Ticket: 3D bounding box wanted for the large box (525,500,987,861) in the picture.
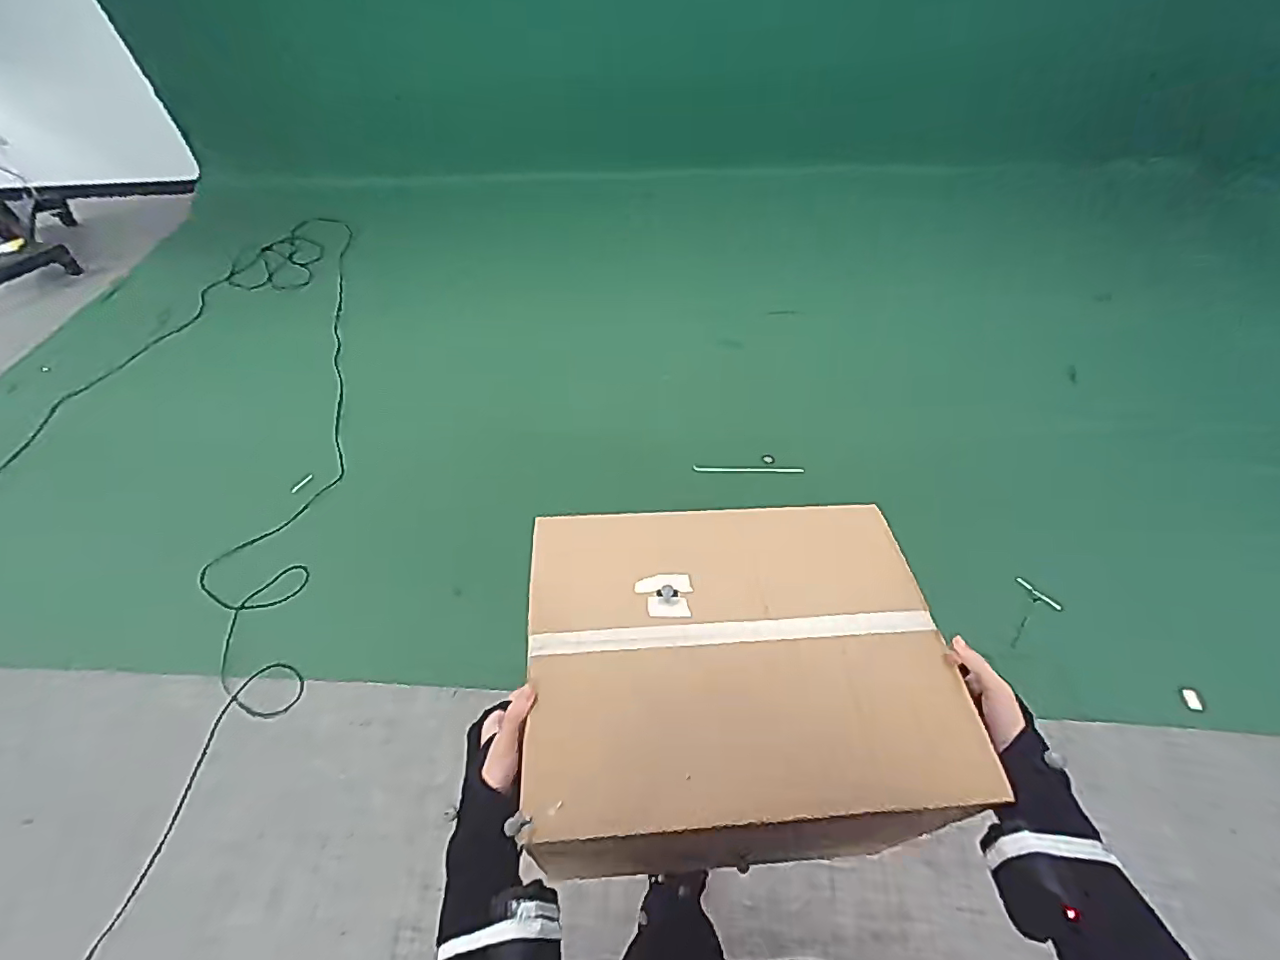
[{"bbox_3d":[0.090,0.247,0.657,0.408,0.320,0.320,-3,49,-4],"label":"large box"}]
